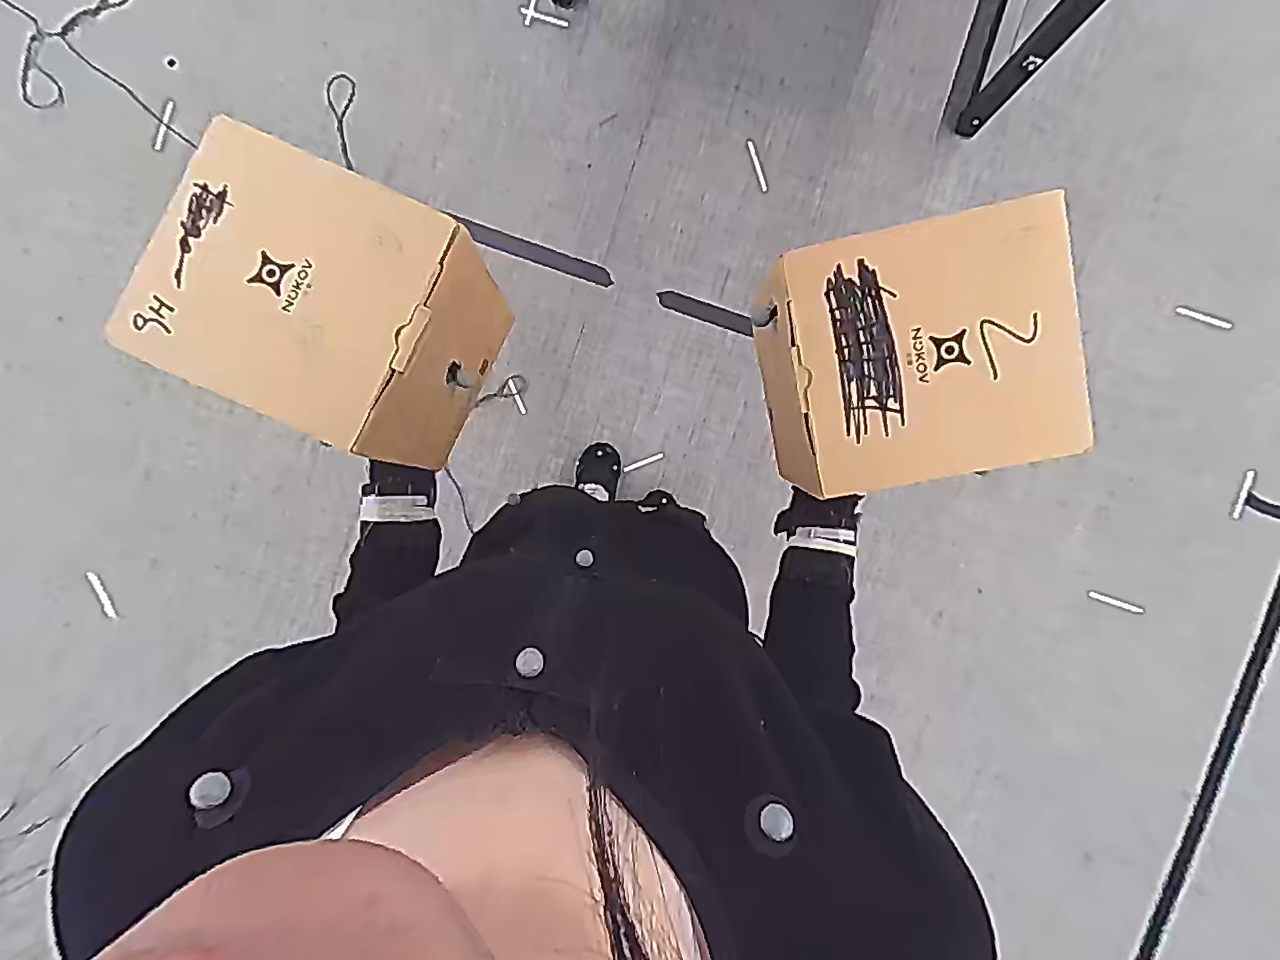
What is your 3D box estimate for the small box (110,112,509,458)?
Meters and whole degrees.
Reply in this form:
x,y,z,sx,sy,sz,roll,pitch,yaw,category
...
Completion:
x,y,z,sx,sy,sz,roll,pitch,yaw,category
-0.223,-0.124,0.422,0.179,0.176,0.168,25,87,-1,small box
